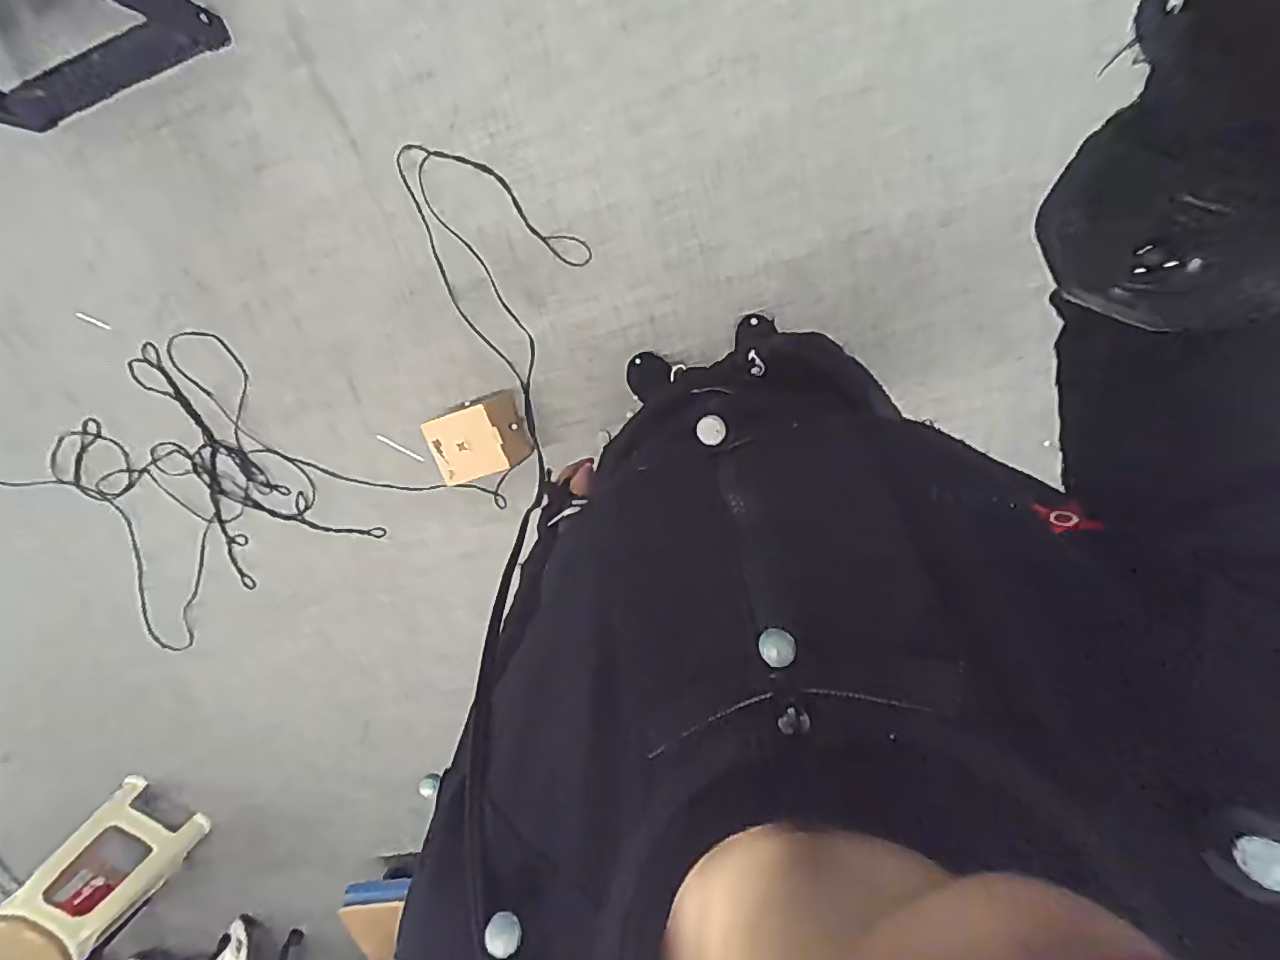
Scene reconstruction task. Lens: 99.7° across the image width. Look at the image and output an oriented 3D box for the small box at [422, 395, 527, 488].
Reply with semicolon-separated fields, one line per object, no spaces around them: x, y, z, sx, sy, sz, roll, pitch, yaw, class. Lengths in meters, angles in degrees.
-0.396;-0.100;1.338;0.179;0.176;0.168;-16;105;12;small box
